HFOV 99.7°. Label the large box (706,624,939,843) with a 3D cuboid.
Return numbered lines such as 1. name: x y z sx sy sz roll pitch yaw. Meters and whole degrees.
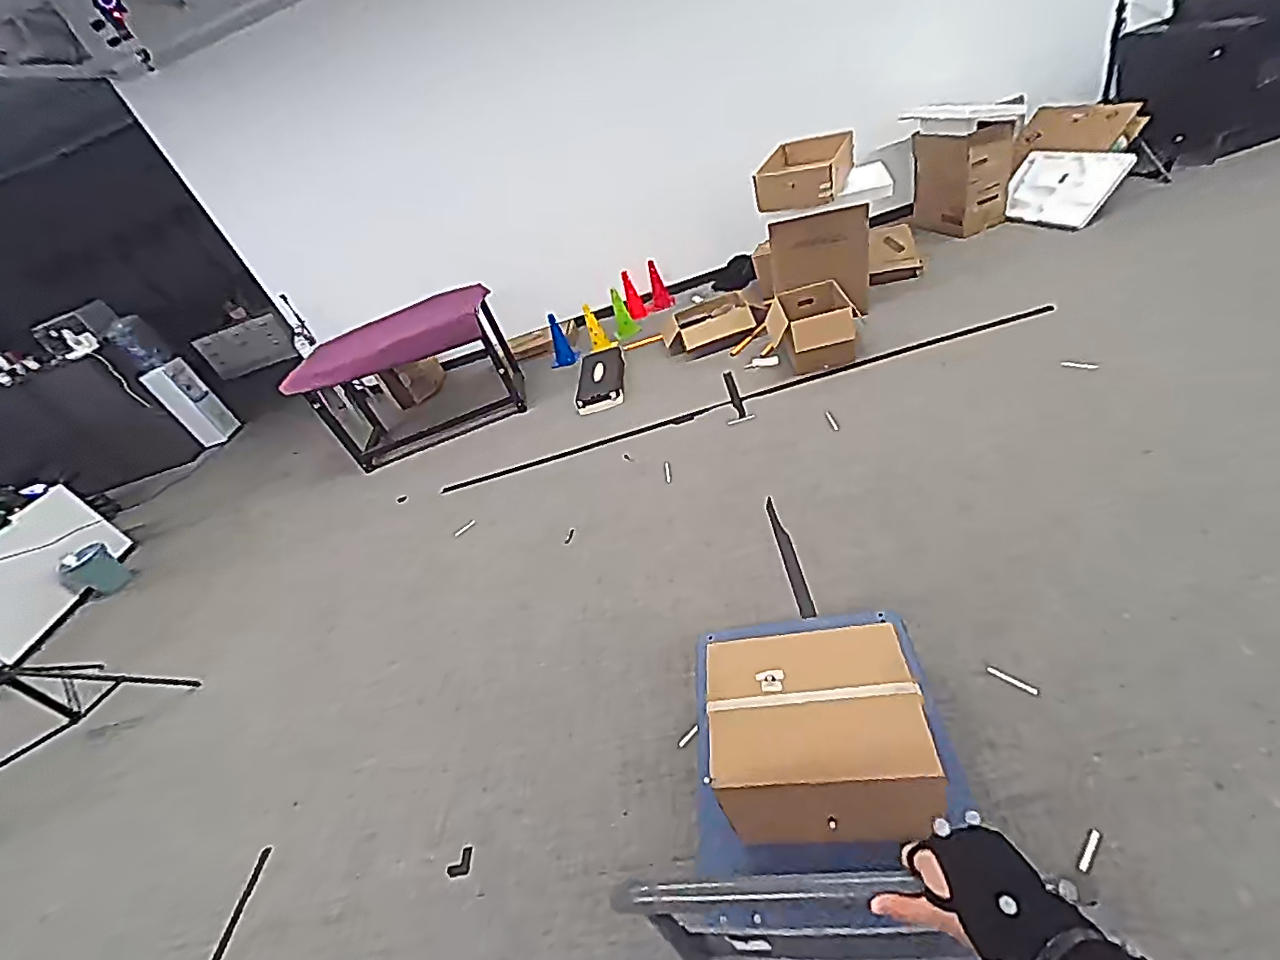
1. large box: 0.381 0.558 1.178 0.408 0.320 0.320 -13 36 14
